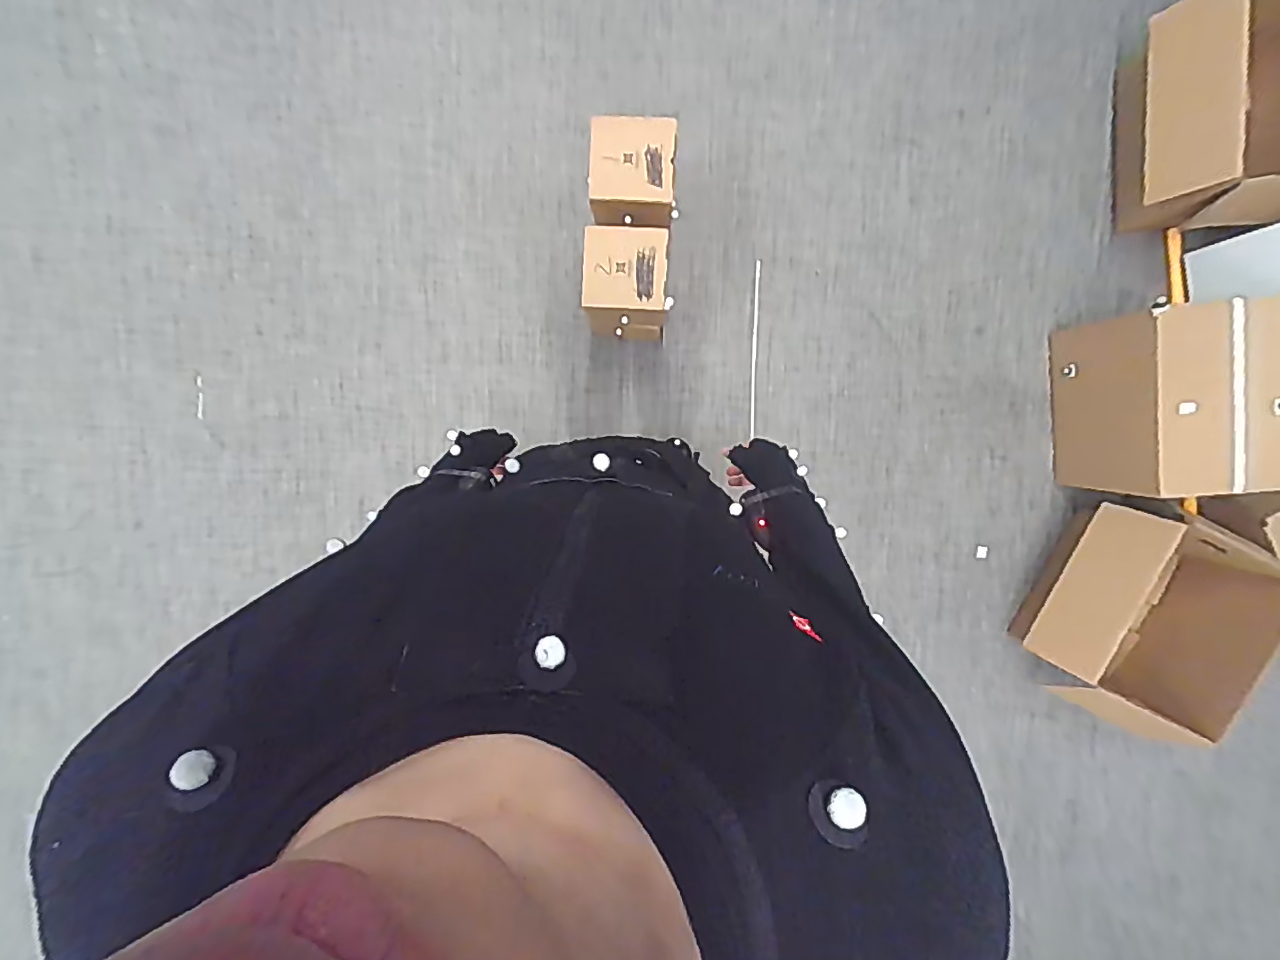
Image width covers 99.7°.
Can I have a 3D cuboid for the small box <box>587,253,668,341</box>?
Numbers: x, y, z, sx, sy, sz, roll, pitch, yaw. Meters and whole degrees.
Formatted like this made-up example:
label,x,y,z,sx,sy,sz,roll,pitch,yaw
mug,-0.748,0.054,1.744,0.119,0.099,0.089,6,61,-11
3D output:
label,x,y,z,sx,sy,sz,roll,pitch,yaw
small box,-0.028,-0.451,1.354,0.179,0.176,0.168,8,96,1
